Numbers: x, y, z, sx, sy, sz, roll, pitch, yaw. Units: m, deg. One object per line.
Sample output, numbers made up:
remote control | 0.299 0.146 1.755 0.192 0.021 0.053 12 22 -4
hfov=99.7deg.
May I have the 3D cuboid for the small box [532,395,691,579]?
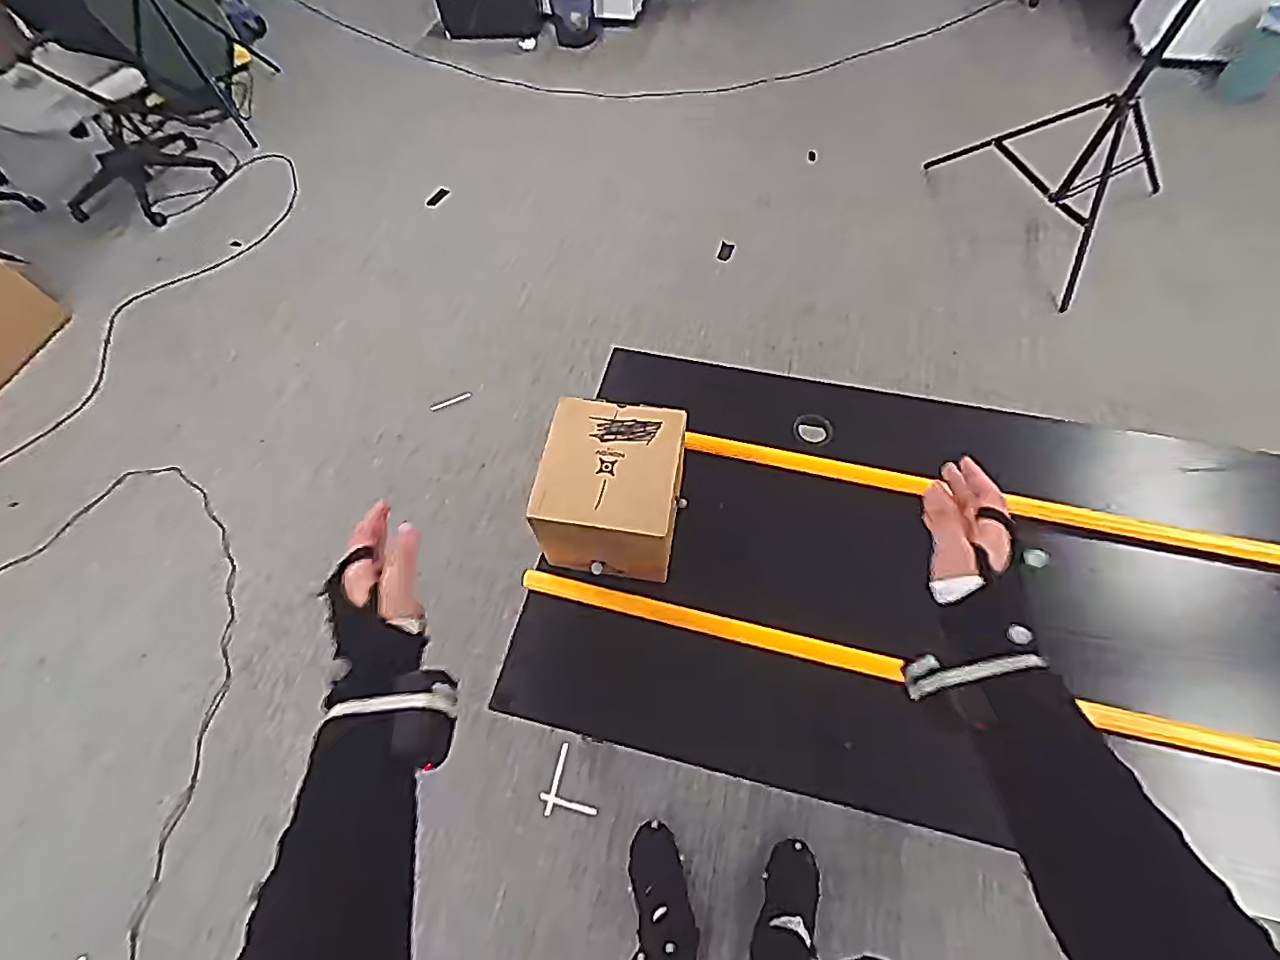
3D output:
small box | -0.029 0.014 0.721 0.168 0.176 0.179 8 63 7
